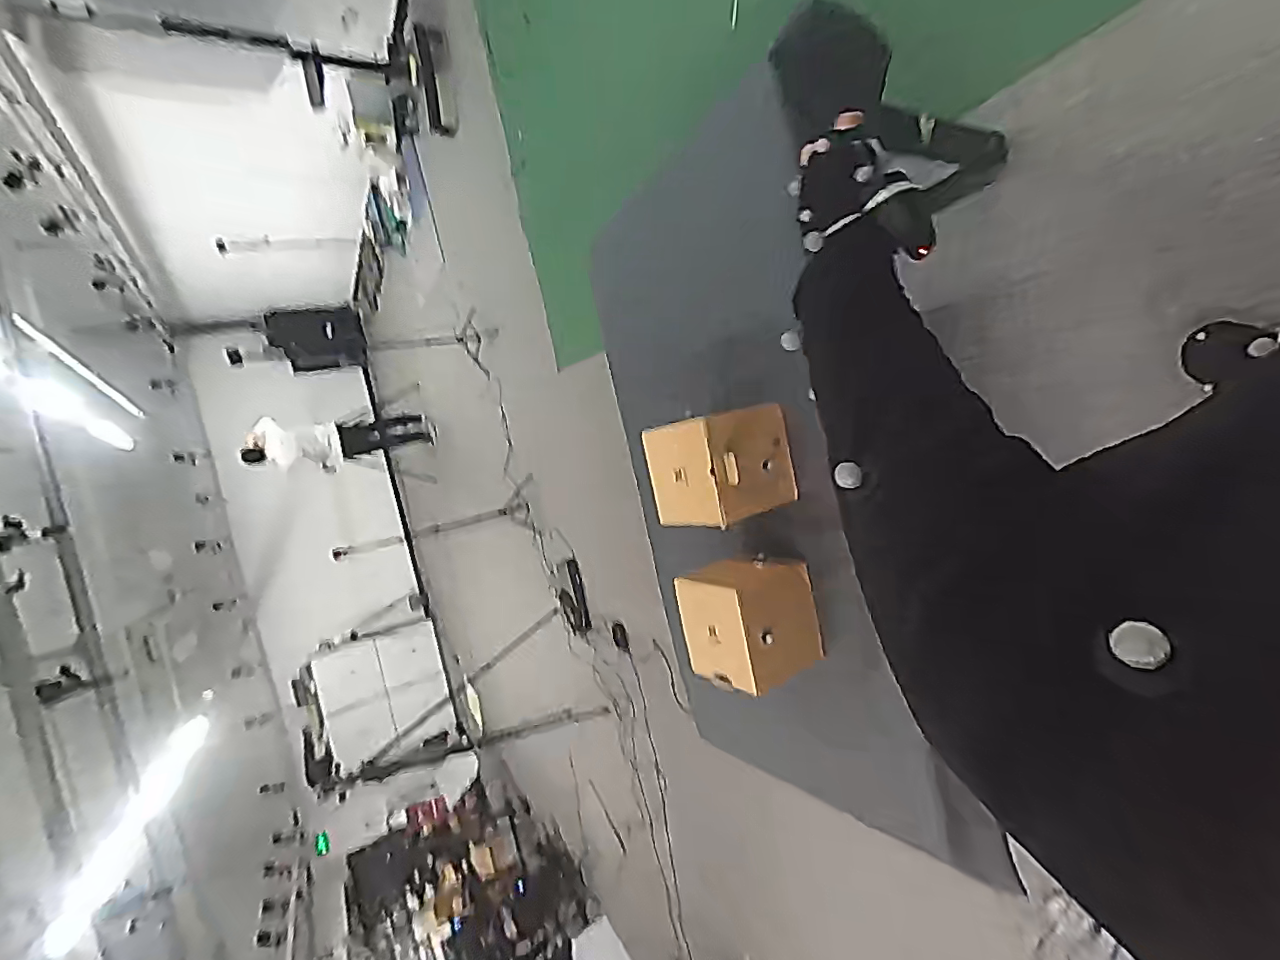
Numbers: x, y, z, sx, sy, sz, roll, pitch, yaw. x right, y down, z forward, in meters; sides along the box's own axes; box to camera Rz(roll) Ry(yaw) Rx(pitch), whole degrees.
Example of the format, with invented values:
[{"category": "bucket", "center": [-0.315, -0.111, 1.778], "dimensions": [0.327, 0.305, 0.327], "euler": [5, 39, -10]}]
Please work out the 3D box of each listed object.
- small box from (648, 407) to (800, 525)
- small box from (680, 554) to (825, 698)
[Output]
[{"category": "small box", "center": [0.141, -0.023, 0.922], "dimensions": [0.179, 0.176, 0.168], "euler": [-7, 96, 58]}, {"category": "small box", "center": [0.197, 0.241, 0.938], "dimensions": [0.168, 0.176, 0.179], "euler": [-5, 97, 58]}]
